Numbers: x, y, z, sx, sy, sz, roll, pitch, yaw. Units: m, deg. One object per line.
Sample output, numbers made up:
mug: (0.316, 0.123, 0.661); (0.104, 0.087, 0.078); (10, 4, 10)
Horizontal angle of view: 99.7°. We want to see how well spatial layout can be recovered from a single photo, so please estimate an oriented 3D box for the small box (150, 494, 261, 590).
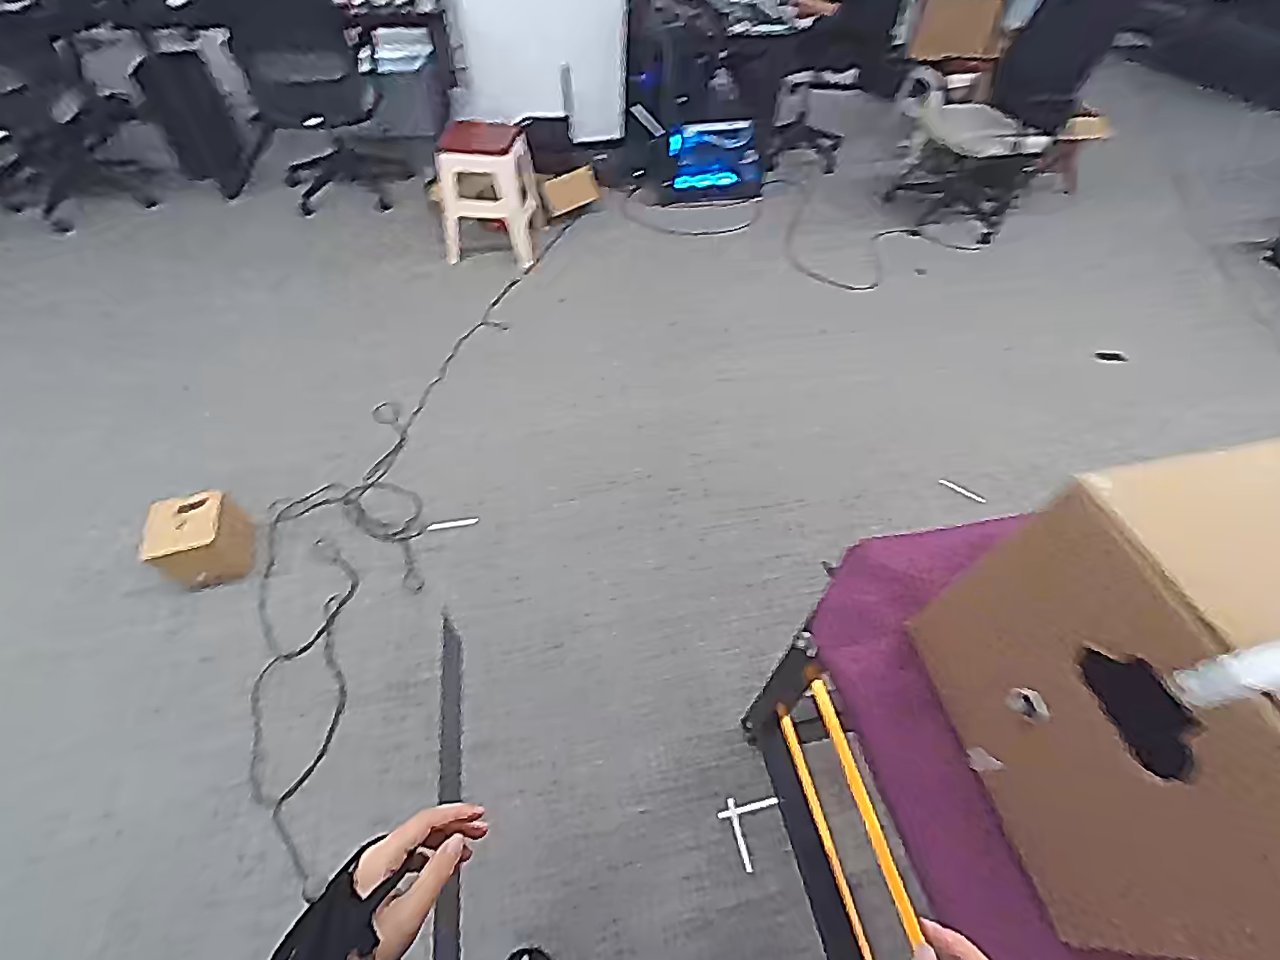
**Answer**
small box: (-1.160, 0.168, 1.461); (0.168, 0.176, 0.179); (-15, 54, -12)
